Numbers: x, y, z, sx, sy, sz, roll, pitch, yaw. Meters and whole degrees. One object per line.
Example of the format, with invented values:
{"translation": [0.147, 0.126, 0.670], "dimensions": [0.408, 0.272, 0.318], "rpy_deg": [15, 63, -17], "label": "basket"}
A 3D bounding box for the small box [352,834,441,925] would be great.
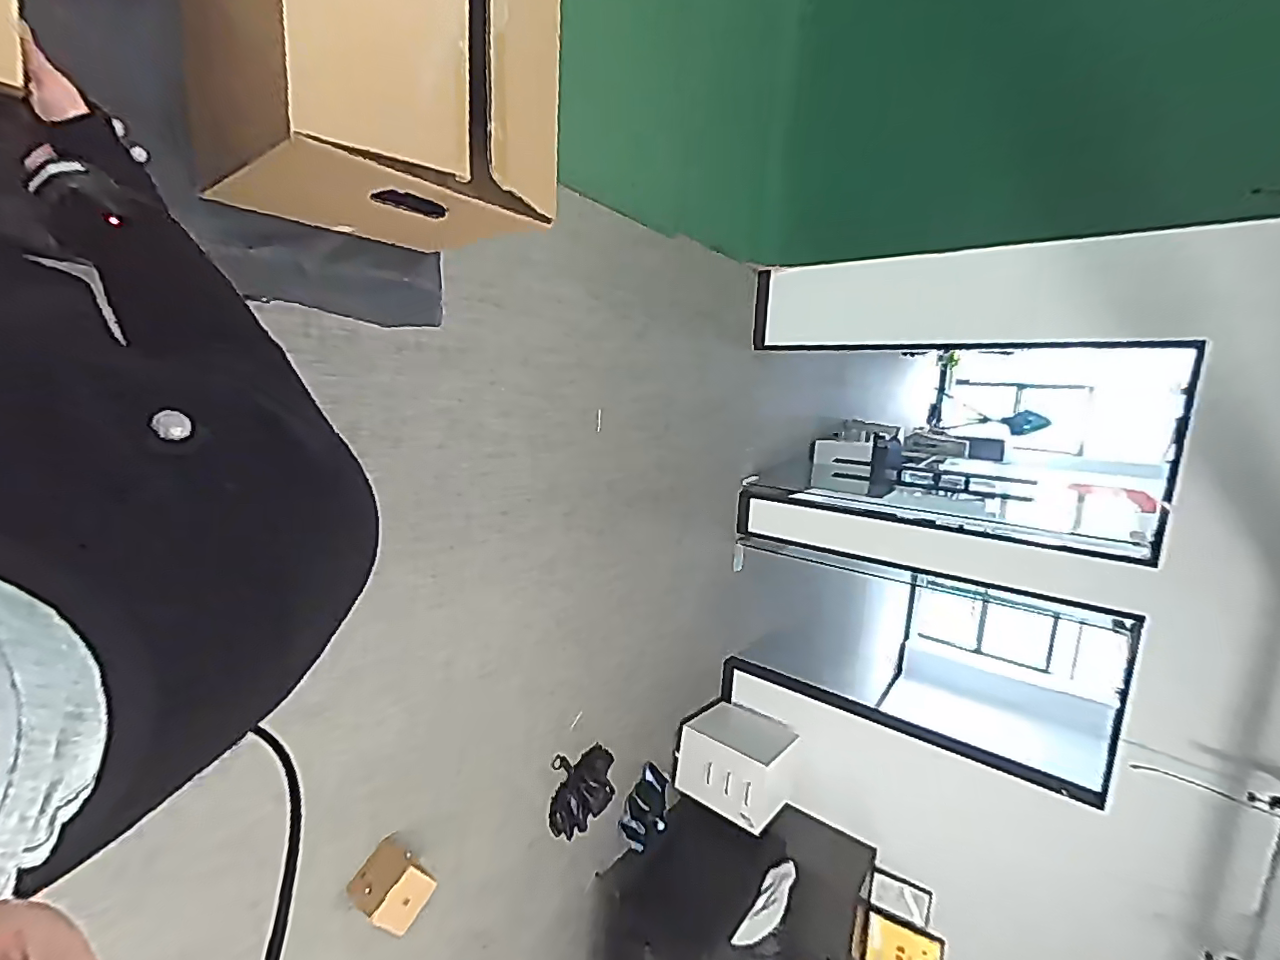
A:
{"translation": [-0.809, 1.315, 1.792], "dimensions": [0.168, 0.176, 0.179], "rpy_deg": [-51, 137, -32], "label": "small box"}
